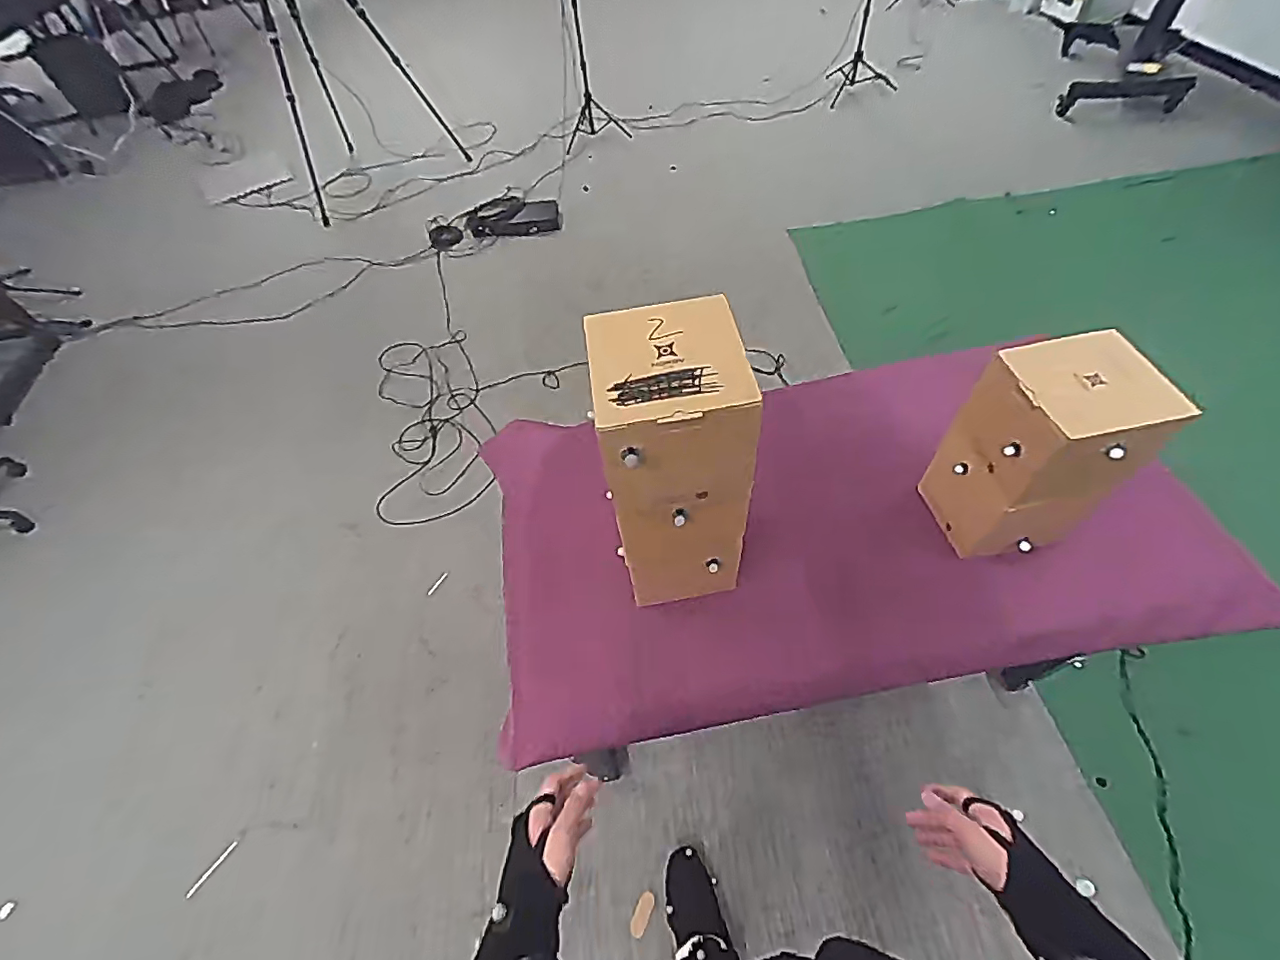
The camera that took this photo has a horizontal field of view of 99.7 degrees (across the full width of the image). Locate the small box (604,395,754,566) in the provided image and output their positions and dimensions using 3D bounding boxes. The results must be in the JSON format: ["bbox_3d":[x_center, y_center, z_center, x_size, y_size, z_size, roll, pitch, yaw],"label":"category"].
[{"bbox_3d":[0.053,0.006,0.781,0.179,0.176,0.168,-11,55,0],"label":"small box"}]

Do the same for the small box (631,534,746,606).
[{"bbox_3d":[0.068,0.096,0.914,0.179,0.176,0.168,-10,54,0],"label":"small box"}]

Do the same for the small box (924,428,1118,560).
[{"bbox_3d":[0.616,0.014,0.904,0.179,0.176,0.168,-12,54,-1],"label":"small box"}]

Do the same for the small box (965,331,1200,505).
[{"bbox_3d":[0.600,-0.081,0.772,0.179,0.176,0.168,-11,55,0],"label":"small box"}]
